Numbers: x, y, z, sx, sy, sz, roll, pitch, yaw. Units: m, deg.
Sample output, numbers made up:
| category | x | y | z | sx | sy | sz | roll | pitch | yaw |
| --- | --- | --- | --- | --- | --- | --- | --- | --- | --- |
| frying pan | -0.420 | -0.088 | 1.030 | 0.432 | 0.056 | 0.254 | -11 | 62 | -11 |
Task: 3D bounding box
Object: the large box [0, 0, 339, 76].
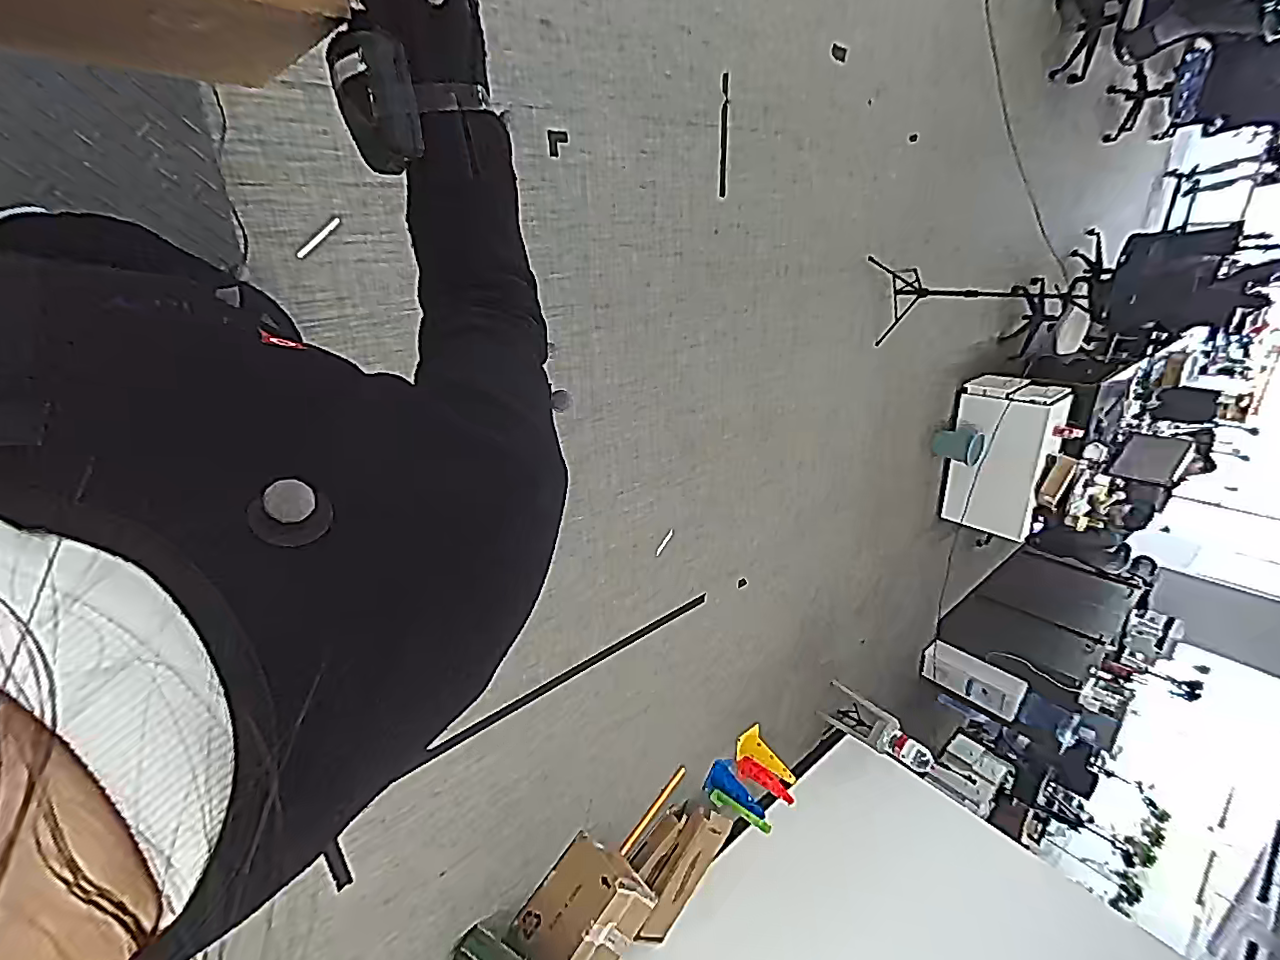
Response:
| category | x | y | z | sx | sy | sz | roll | pitch | yaw |
| --- | --- | --- | --- | --- | --- | --- | --- | --- | --- |
| large box | -0.410 | -0.399 | 0.220 | 0.408 | 0.320 | 0.320 | -19 | 125 | -36 |
